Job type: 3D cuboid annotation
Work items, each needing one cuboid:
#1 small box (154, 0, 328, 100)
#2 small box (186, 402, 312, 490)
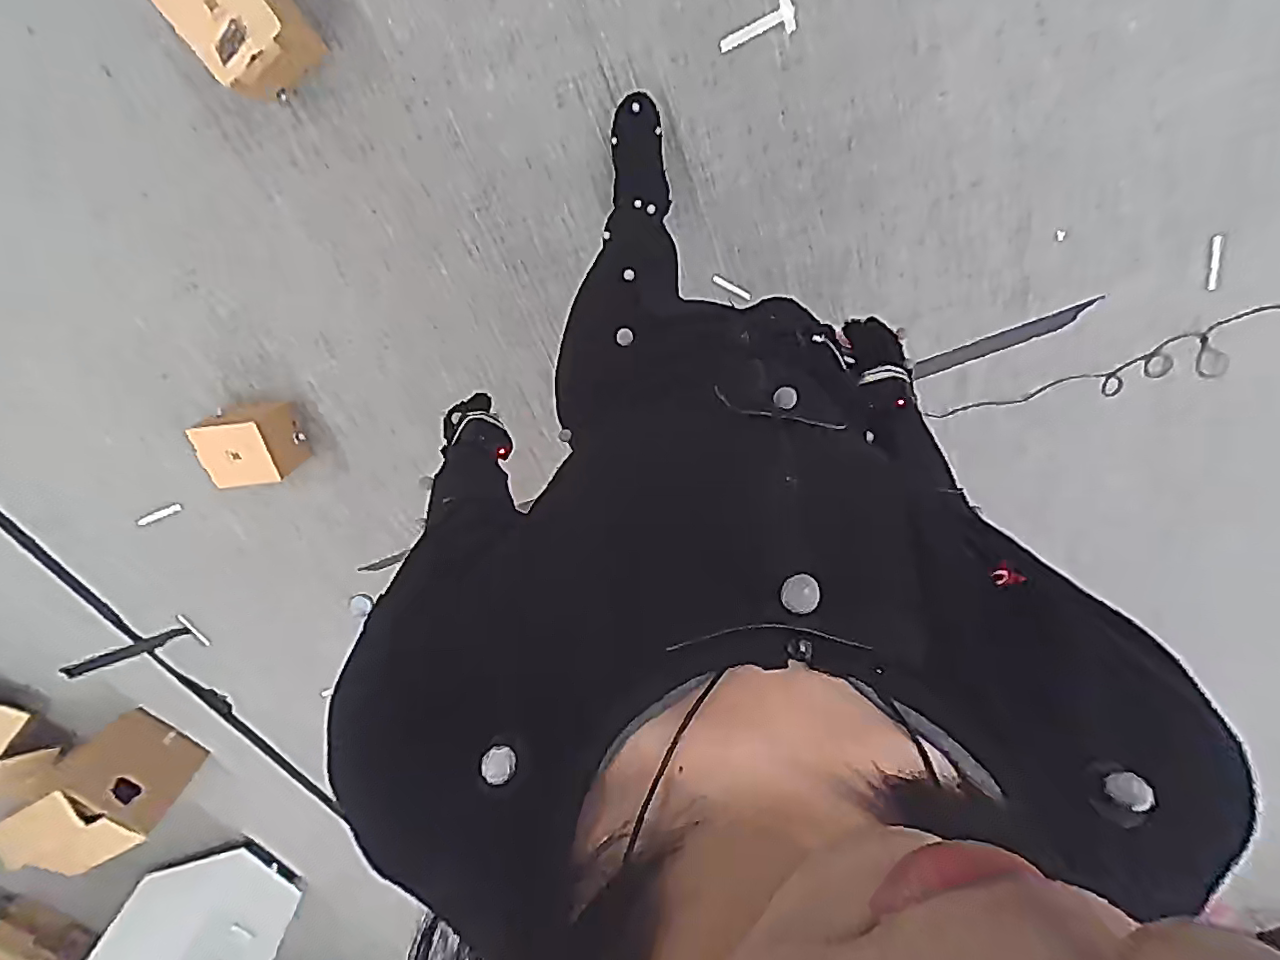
[{"bbox_3d":[-0.741,-0.858,1.025,0.168,0.176,0.179,-31,113,13],"label":"small box"},{"bbox_3d":[-1.000,-0.092,1.399,0.179,0.176,0.168,-7,118,0],"label":"small box"}]
